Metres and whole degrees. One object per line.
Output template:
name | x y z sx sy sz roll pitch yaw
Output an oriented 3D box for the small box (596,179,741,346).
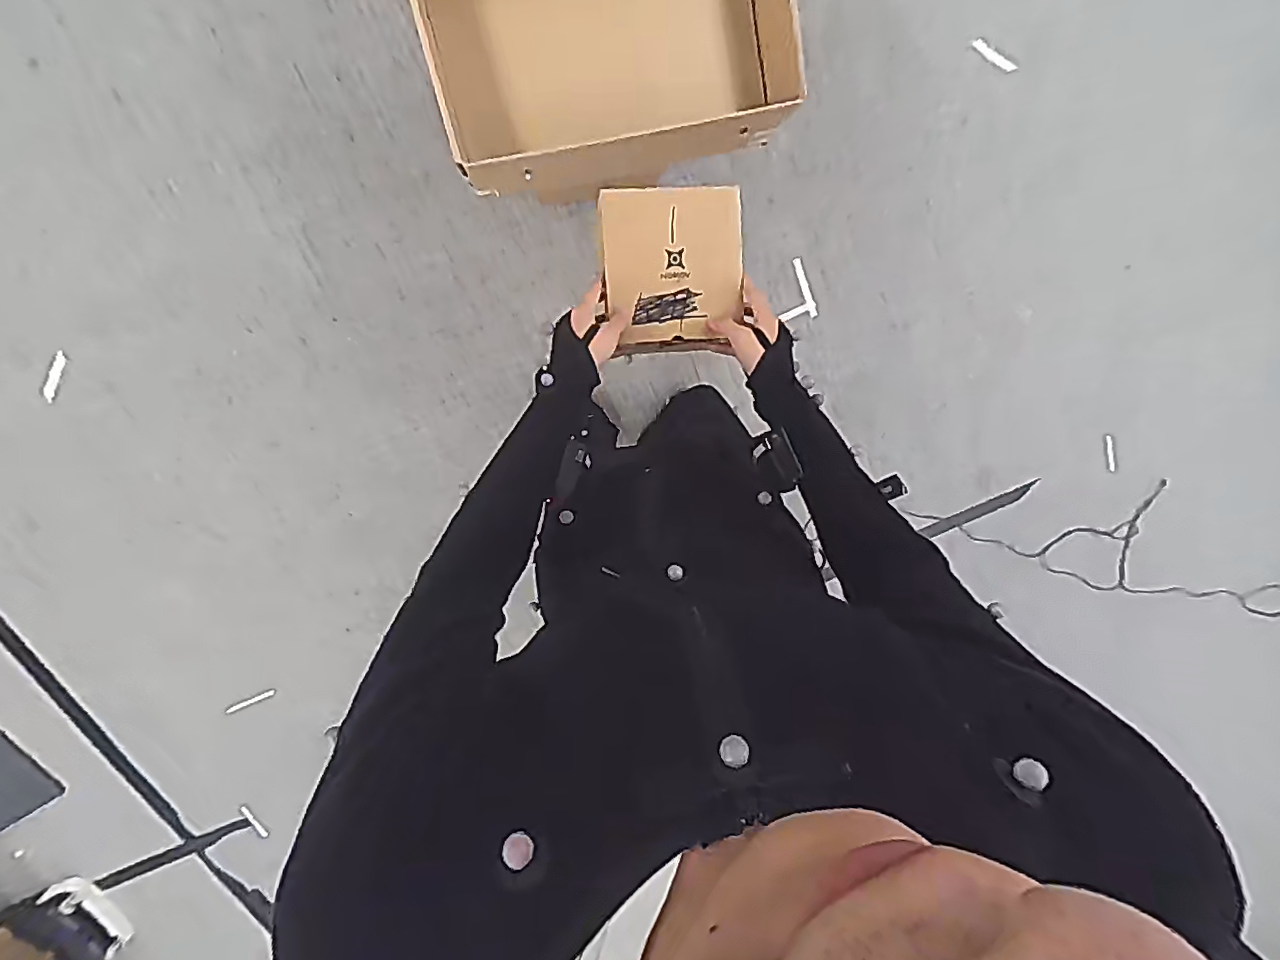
small box | 0.030 -0.270 0.708 0.168 0.176 0.179 -4 99 -6
